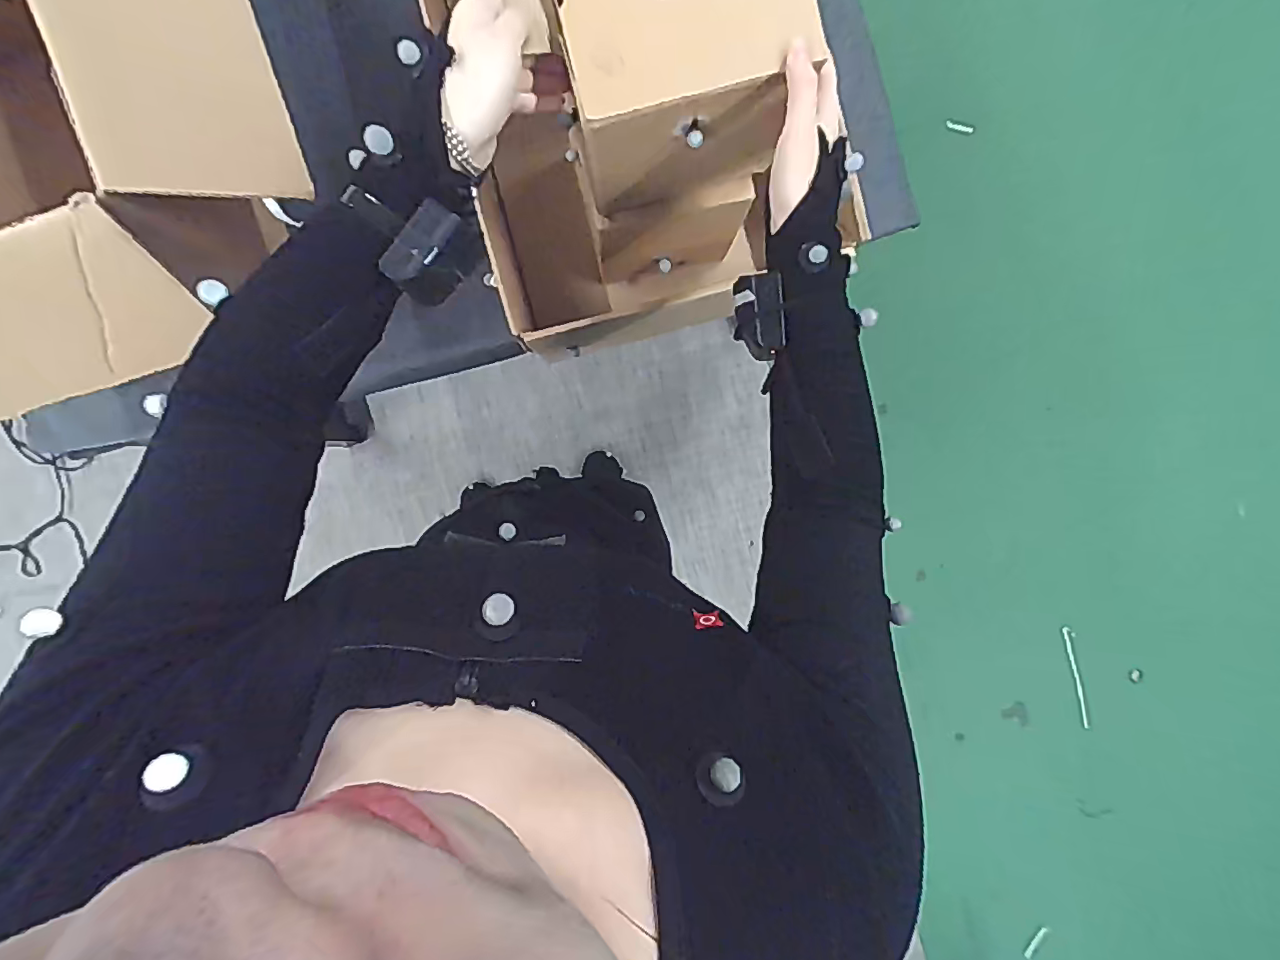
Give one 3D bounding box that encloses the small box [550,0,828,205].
[{"bbox_3d":[0.025,-0.355,0.444,0.179,0.176,0.168,-15,97,0],"label":"small box"}]
